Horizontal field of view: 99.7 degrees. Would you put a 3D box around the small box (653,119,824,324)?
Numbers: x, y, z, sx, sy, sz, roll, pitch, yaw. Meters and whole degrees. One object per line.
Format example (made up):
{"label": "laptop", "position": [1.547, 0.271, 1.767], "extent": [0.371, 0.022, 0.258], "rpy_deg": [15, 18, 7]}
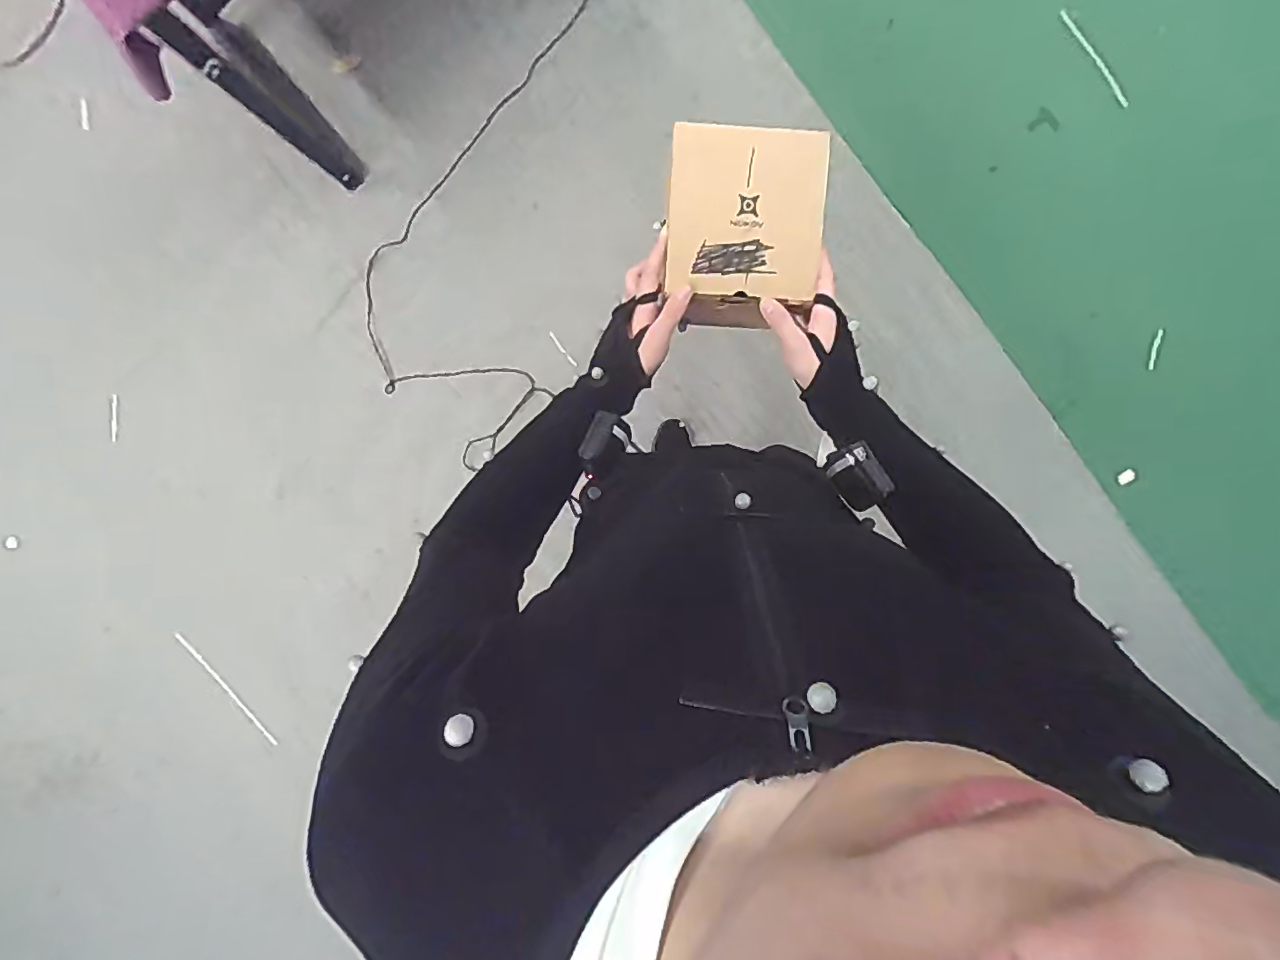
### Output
{"label": "small box", "position": [0.103, -0.288, 0.642], "extent": [0.168, 0.176, 0.179], "rpy_deg": [2, 95, -2]}
